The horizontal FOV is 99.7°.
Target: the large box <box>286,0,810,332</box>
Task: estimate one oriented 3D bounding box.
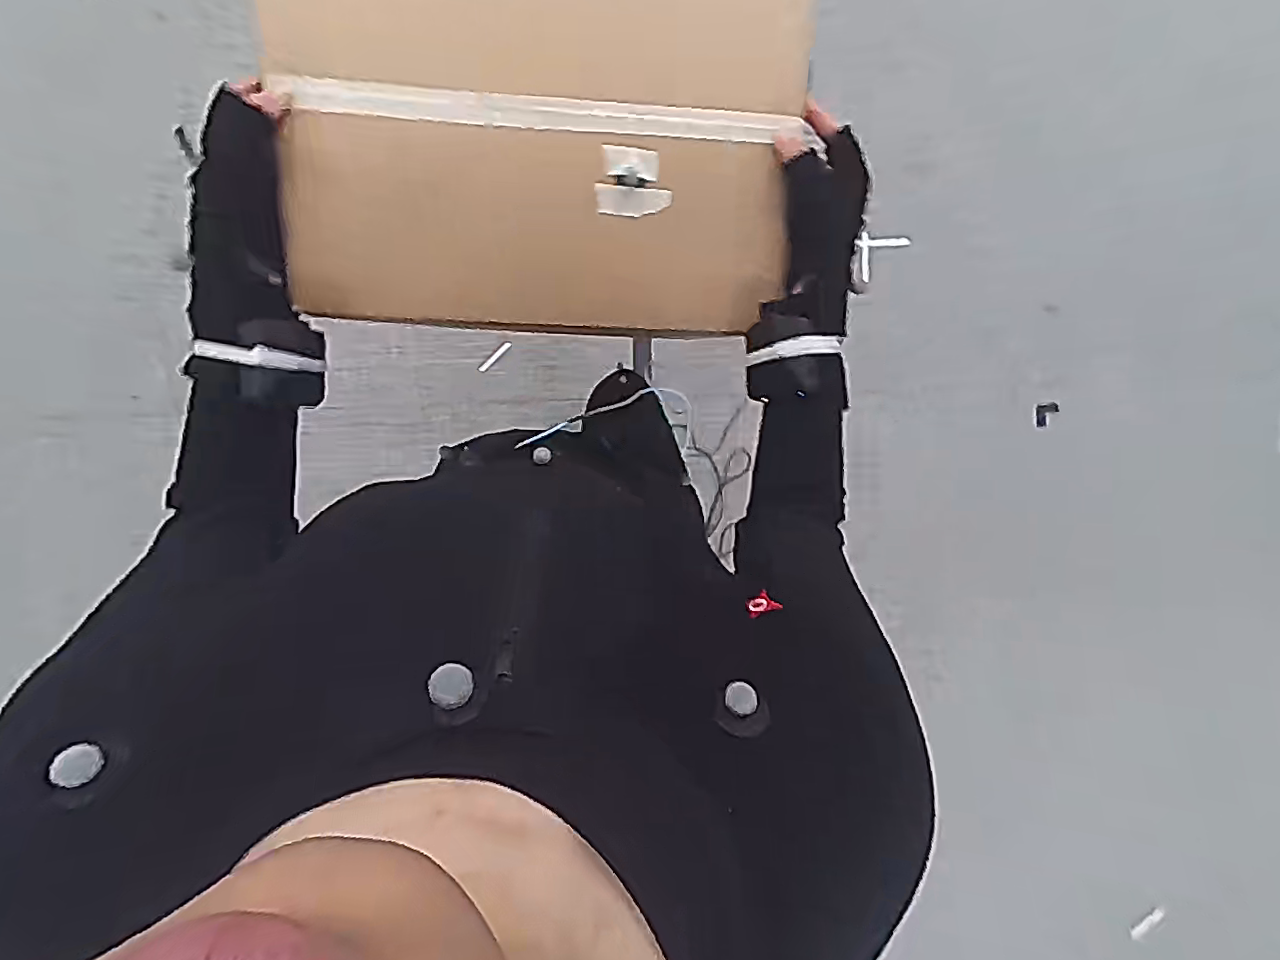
[{"bbox_3d":[-0.083,-0.326,0.573,0.408,0.320,0.320,1,104,-8],"label":"large box"}]
